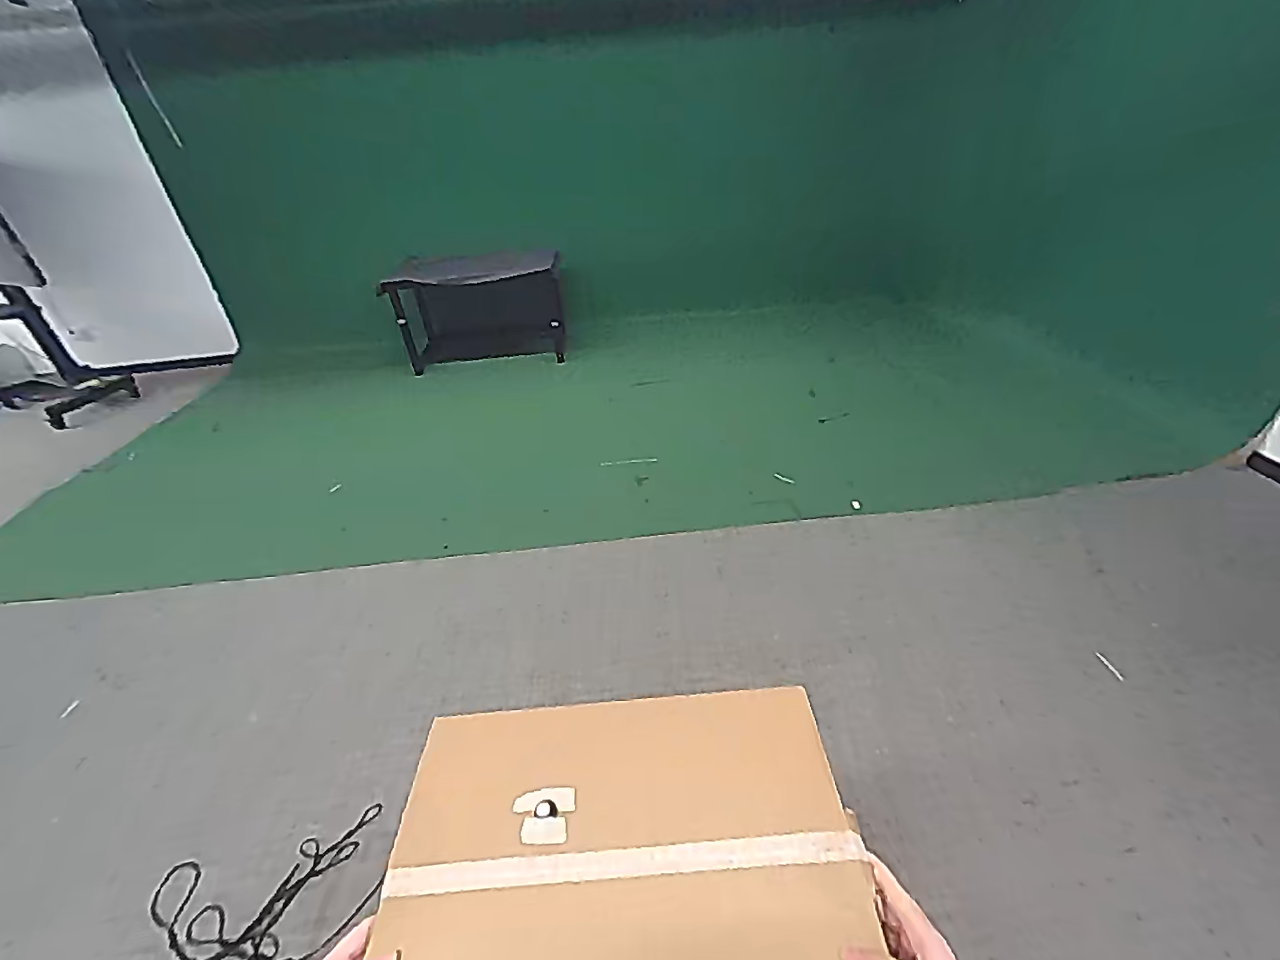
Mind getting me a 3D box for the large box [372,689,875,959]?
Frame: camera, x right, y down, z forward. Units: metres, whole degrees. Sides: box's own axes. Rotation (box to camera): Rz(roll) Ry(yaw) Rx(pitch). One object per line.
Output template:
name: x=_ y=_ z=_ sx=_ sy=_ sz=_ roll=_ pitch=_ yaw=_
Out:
large box: x=-0.003 y=0.460 z=0.559 sx=0.408 sy=0.320 sz=0.320 roll=-7 pitch=35 yaw=3
